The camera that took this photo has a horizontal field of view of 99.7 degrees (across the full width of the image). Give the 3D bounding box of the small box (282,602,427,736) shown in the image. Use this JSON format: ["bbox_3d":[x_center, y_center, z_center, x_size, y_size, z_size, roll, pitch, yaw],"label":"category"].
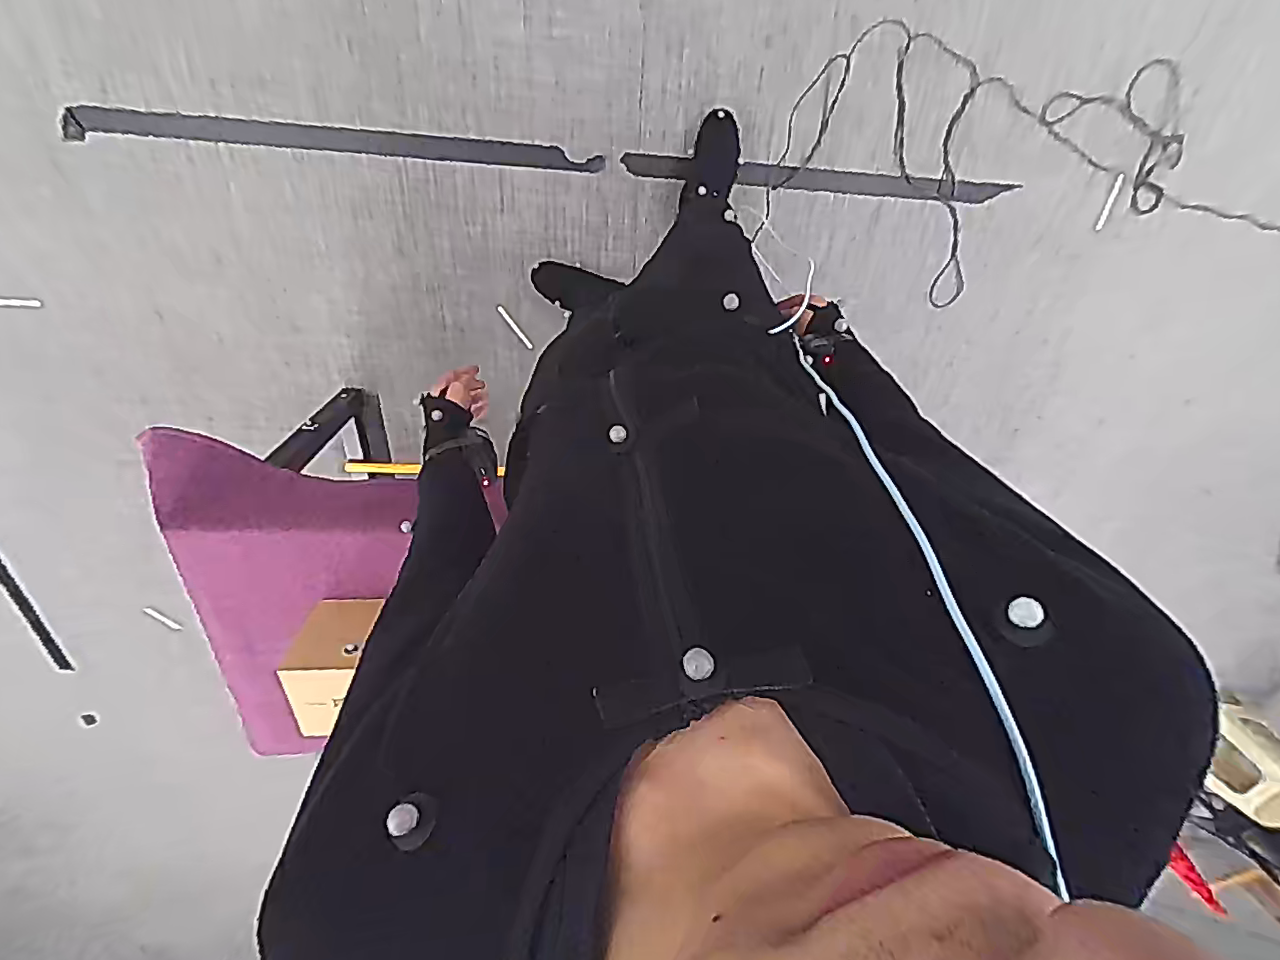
[{"bbox_3d":[-0.497,0.336,0.978,0.179,0.176,0.168,1,120,-4],"label":"small box"}]
